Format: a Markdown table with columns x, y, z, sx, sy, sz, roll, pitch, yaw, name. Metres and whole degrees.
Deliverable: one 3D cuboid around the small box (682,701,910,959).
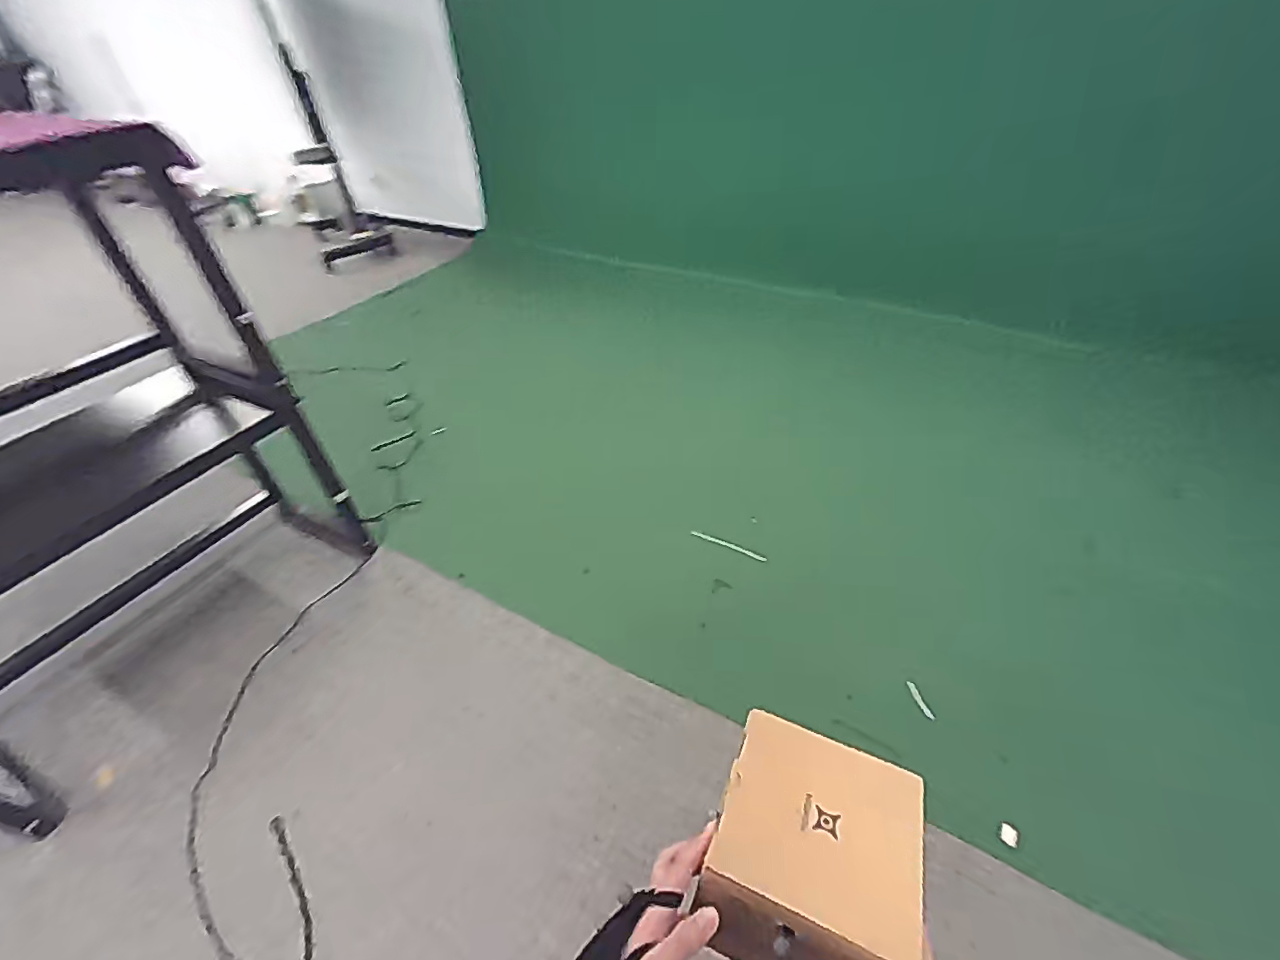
| x | y | z | sx | sy | sz | roll | pitch | yaw | name |
| --- | --- | --- | --- | --- | --- | --- | --- | --- | --- |
| 0.154 | 0.369 | 0.549 | 0.179 | 0.176 | 0.168 | 15 | 36 | 18 | small box |
